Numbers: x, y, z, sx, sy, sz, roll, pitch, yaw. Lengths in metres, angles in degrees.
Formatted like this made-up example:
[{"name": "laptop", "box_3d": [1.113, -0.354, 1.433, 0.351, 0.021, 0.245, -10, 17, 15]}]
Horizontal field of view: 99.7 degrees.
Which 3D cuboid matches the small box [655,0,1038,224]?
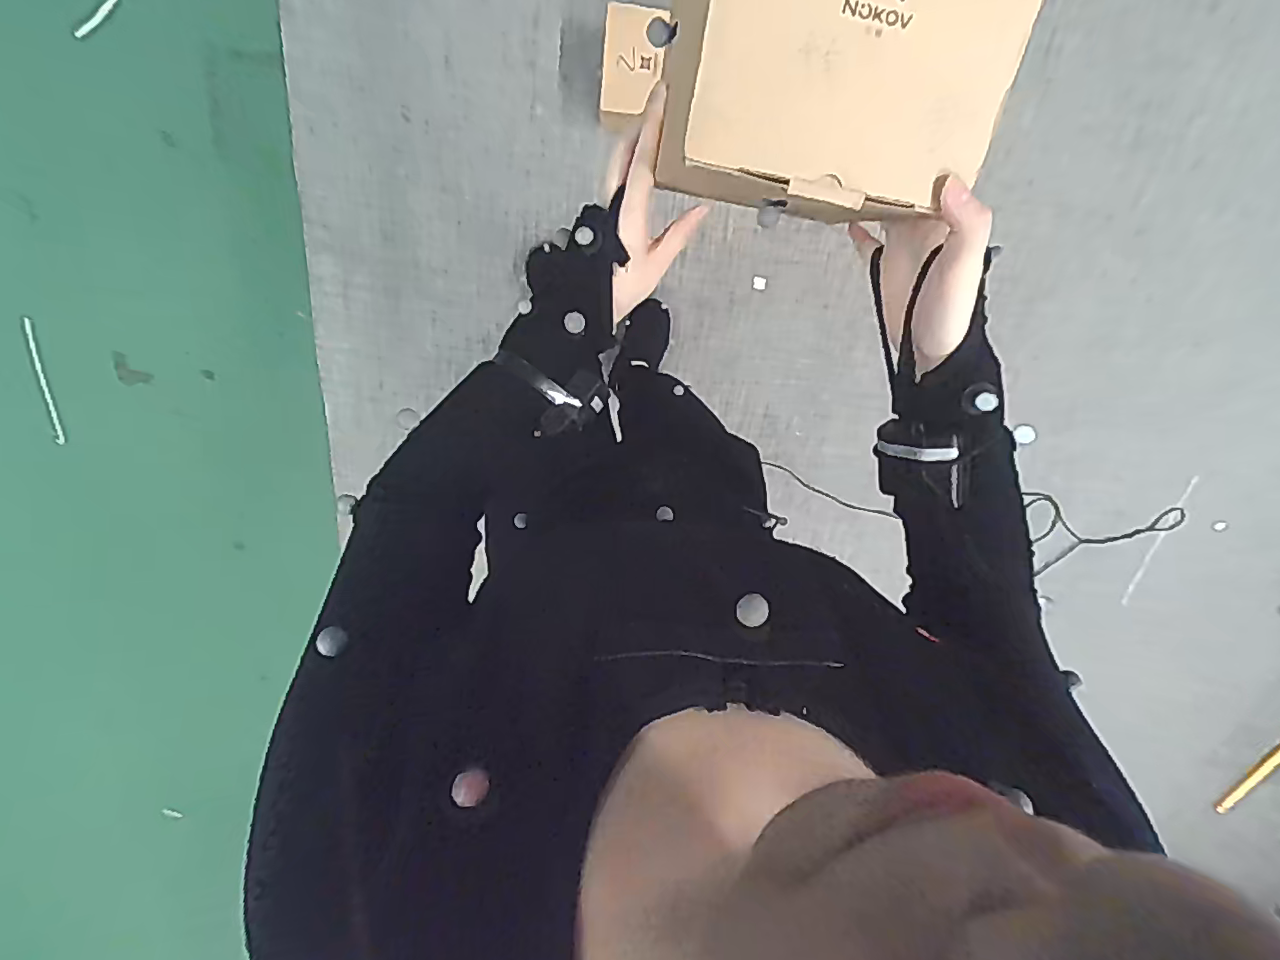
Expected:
[{"name": "small box", "box_3d": [0.108, -0.269, 0.335, 0.168, 0.176, 0.179, 5, 115, -9]}]
